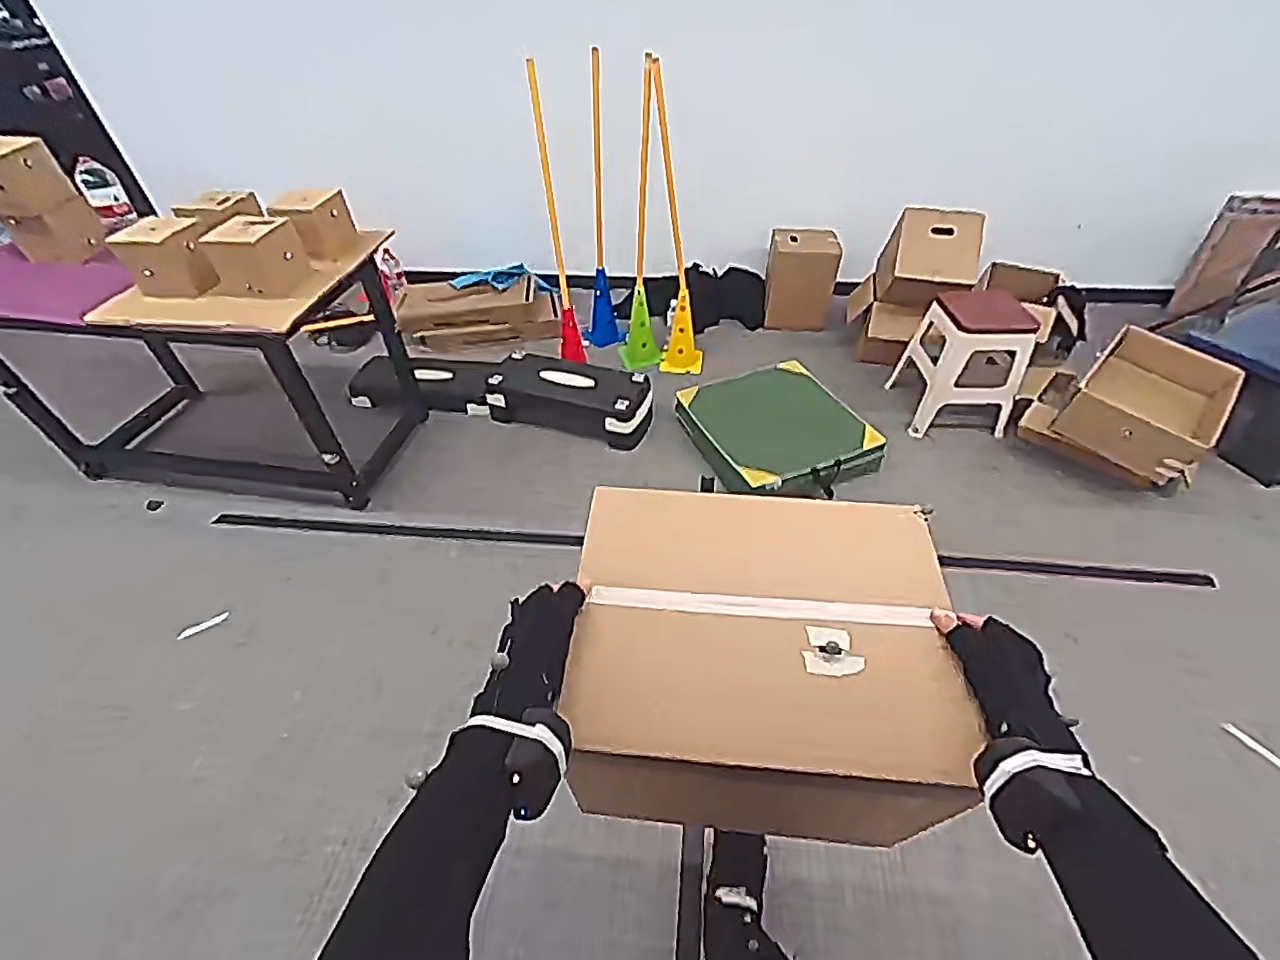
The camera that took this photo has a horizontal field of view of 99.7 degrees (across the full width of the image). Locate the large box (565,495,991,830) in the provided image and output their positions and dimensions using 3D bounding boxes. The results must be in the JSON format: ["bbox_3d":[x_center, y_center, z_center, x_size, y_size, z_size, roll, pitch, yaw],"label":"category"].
[{"bbox_3d":[0.136,0.240,0.710,0.408,0.320,0.320,3,49,4],"label":"large box"}]
